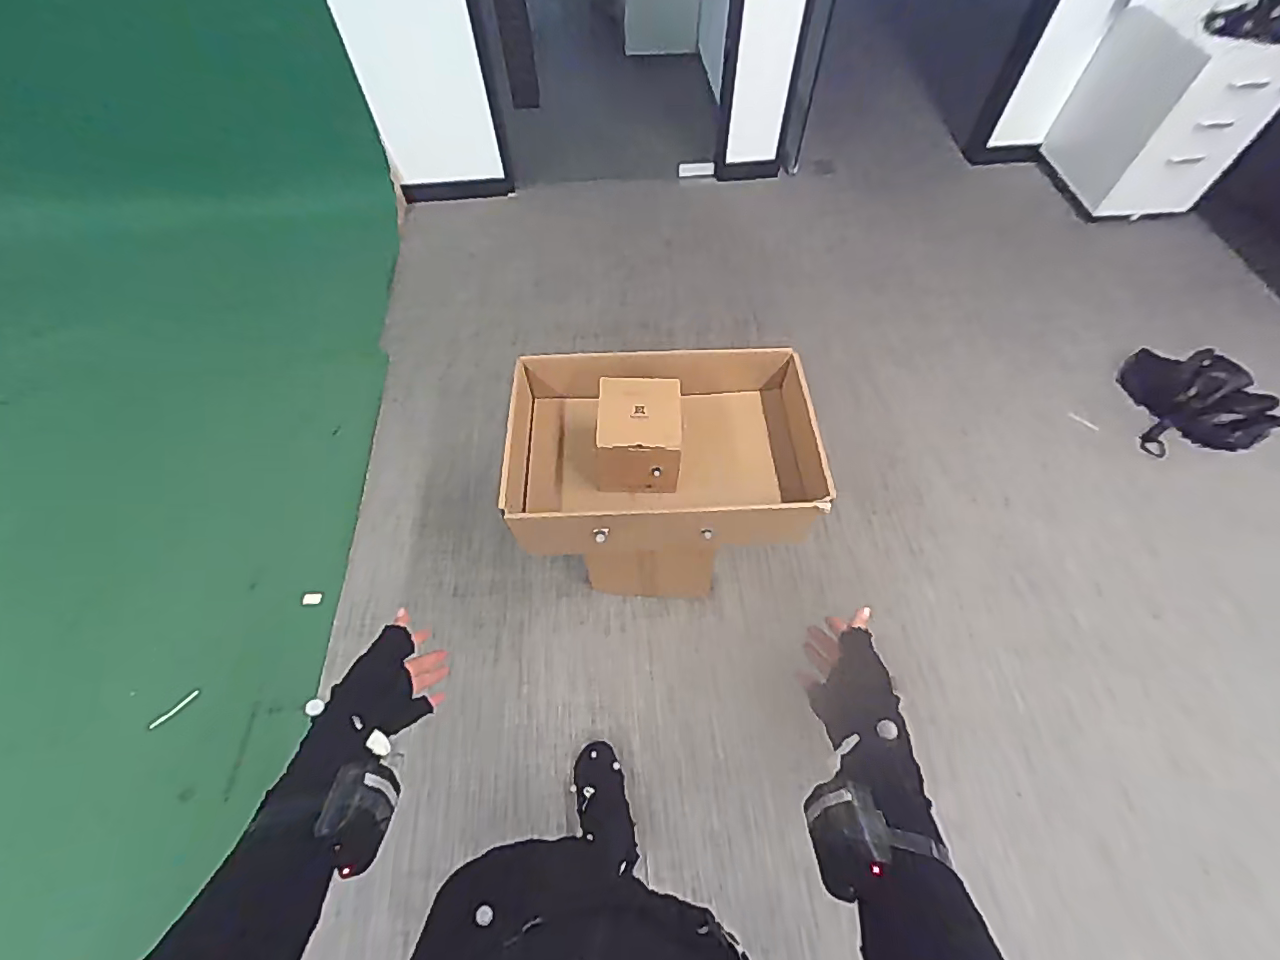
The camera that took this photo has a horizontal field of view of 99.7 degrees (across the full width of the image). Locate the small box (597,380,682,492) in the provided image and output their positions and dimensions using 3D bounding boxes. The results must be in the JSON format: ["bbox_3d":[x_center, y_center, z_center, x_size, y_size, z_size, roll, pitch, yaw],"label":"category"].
[{"bbox_3d":[0.000,-0.087,1.132,0.168,0.176,0.179,1,56,-2],"label":"small box"}]
